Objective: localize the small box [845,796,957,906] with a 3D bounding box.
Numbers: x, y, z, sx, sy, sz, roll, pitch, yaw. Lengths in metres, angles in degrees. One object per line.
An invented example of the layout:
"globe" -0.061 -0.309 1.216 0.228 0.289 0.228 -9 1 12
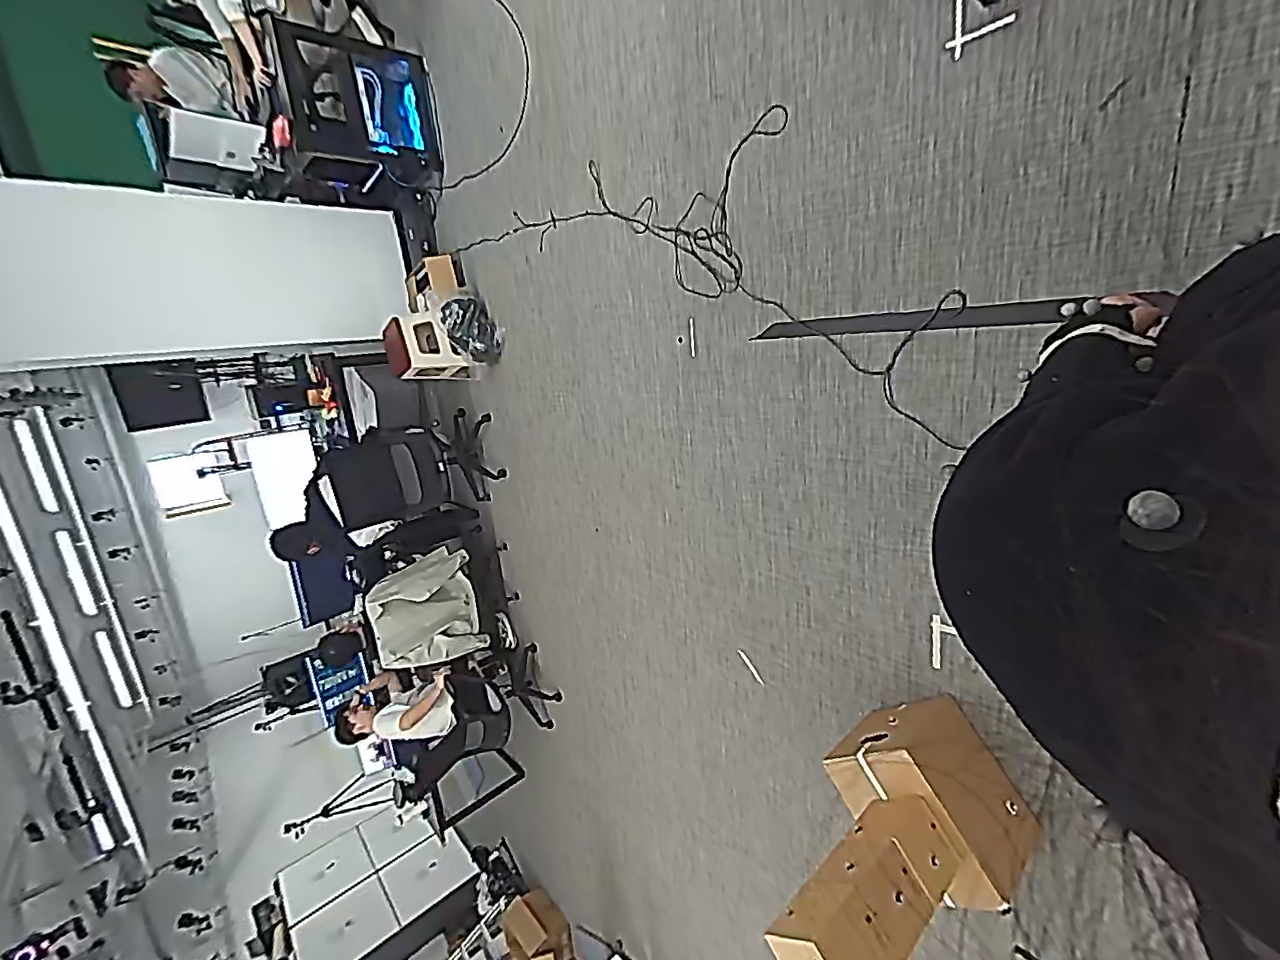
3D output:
"small box" 0.667 0.930 1.370 0.168 0.176 0.179 60 140 16

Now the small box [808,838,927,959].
"small box" 0.542 0.976 1.274 0.168 0.176 0.179 60 140 16
